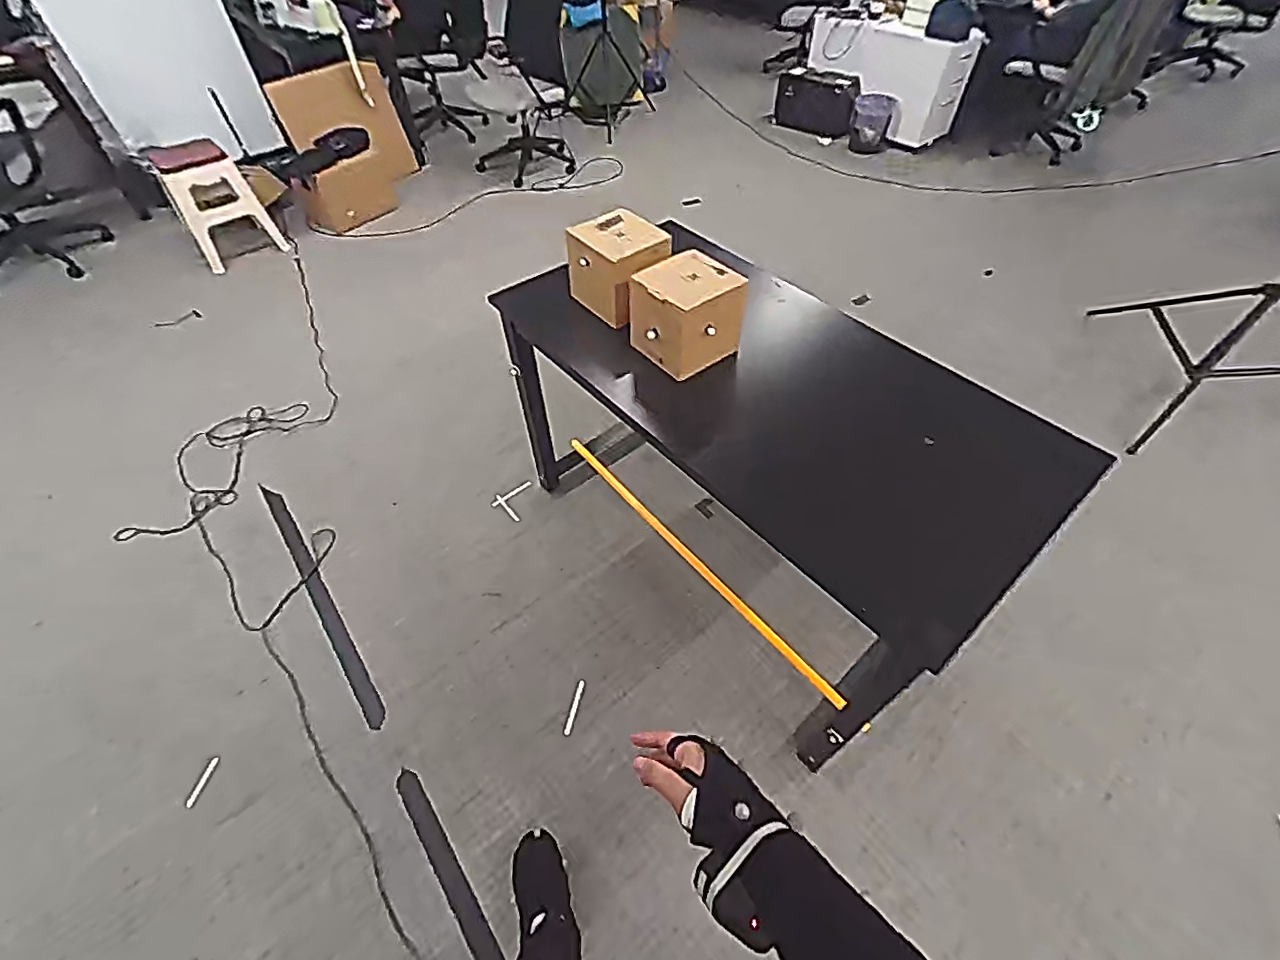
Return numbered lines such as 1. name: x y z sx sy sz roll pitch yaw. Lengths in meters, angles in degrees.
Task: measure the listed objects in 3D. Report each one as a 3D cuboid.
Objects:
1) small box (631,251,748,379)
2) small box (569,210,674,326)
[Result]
1. small box: 0.099 -0.341 1.128 0.179 0.176 0.168 -33 59 -24
2. small box: -0.043 -0.485 1.242 0.168 0.176 0.179 -33 59 -23
